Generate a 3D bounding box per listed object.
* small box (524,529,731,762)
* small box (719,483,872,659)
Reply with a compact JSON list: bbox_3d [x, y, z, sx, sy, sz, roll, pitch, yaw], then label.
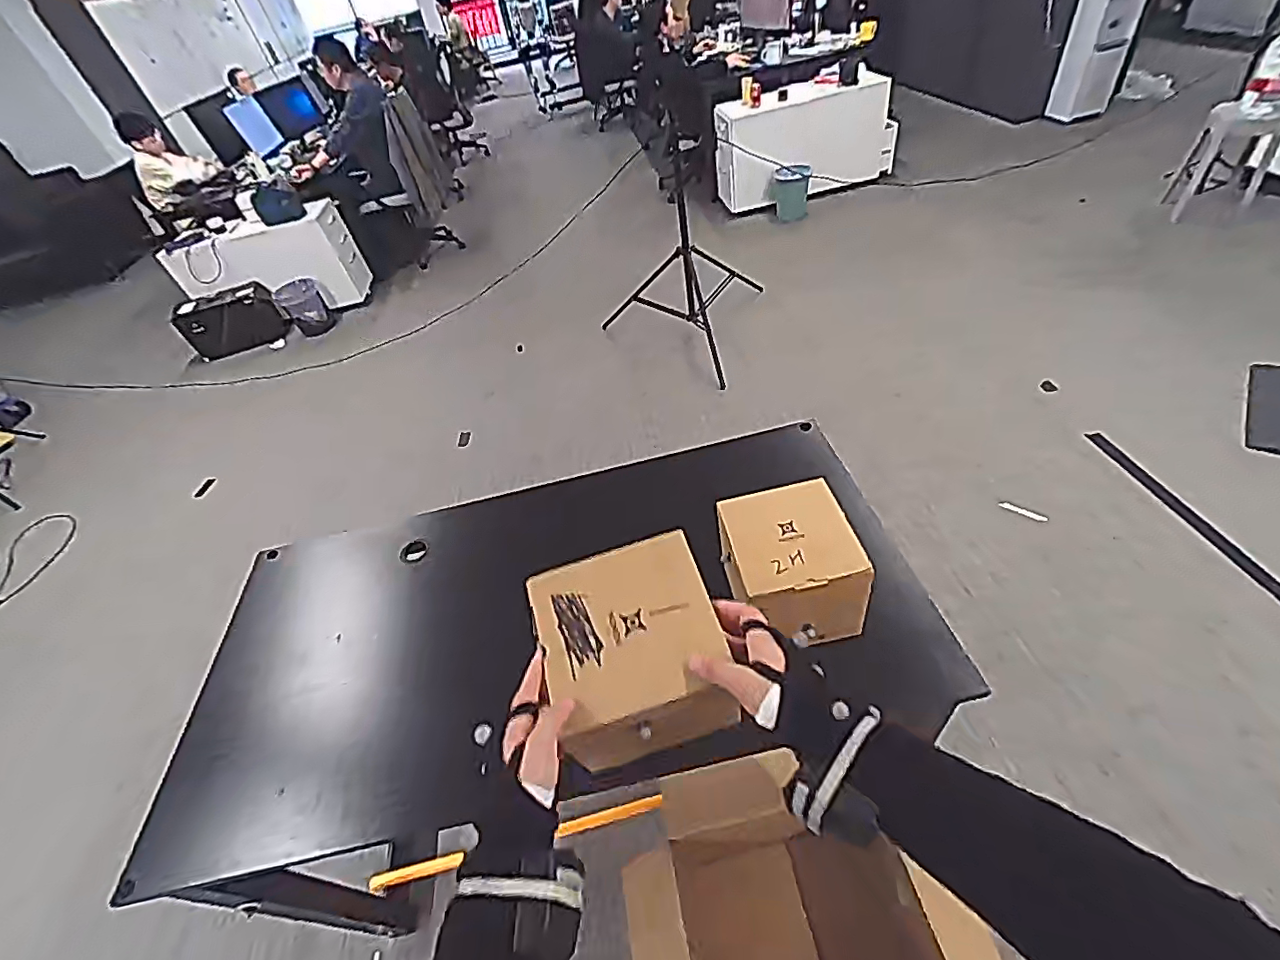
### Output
[{"bbox_3d":[-0.008,0.185,0.589,0.179,0.176,0.168,-17,53,-4],"label":"small box"},{"bbox_3d":[0.220,0.135,0.804,0.168,0.176,0.179,-13,44,2],"label":"small box"}]
